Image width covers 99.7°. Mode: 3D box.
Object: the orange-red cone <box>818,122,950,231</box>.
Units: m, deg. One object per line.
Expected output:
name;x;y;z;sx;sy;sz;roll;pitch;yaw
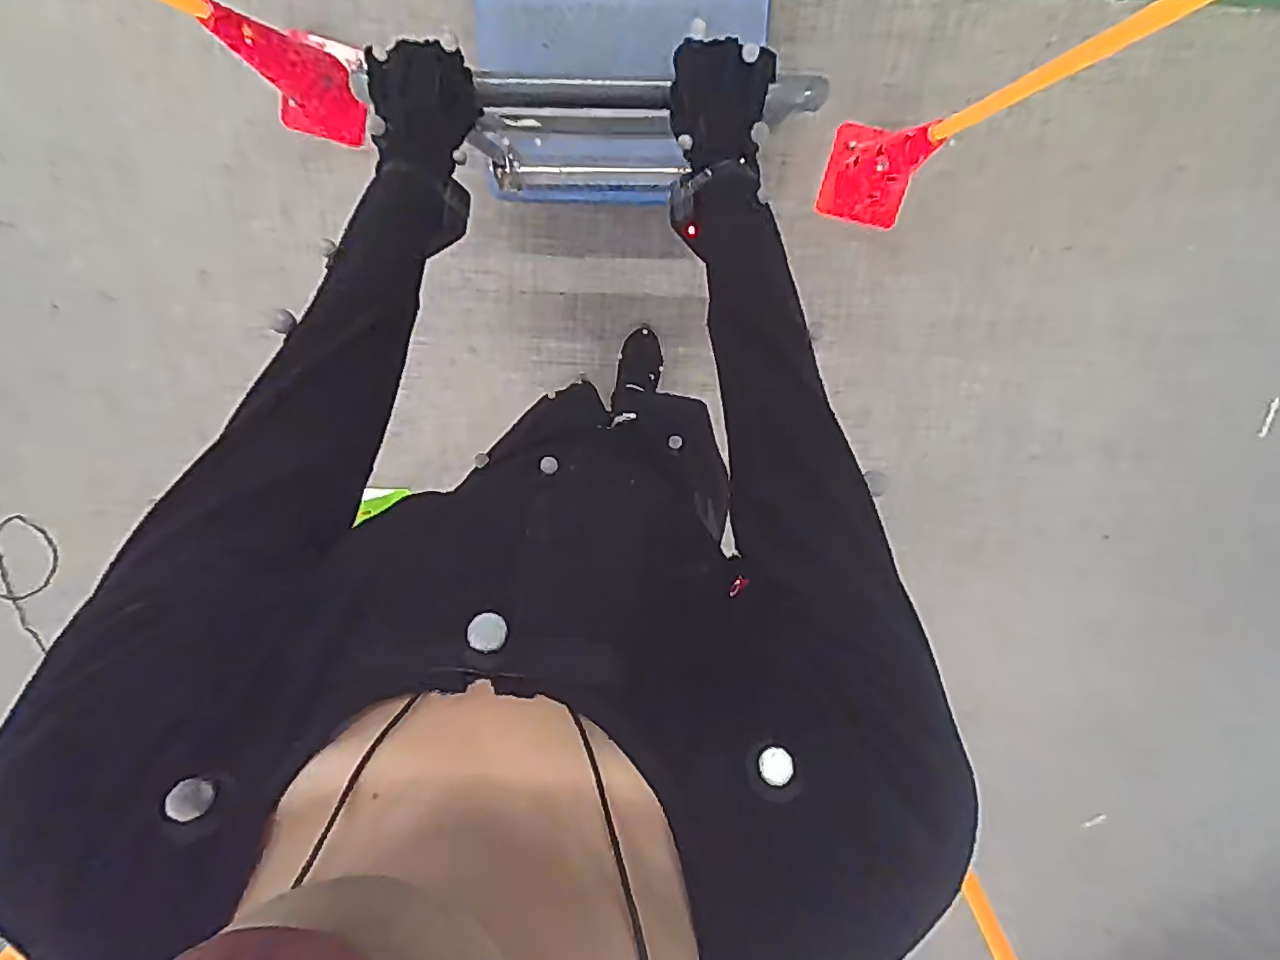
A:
orange-red cone;0.534;-0.659;1.116;0.198;0.360;0.199;13;108;-2
